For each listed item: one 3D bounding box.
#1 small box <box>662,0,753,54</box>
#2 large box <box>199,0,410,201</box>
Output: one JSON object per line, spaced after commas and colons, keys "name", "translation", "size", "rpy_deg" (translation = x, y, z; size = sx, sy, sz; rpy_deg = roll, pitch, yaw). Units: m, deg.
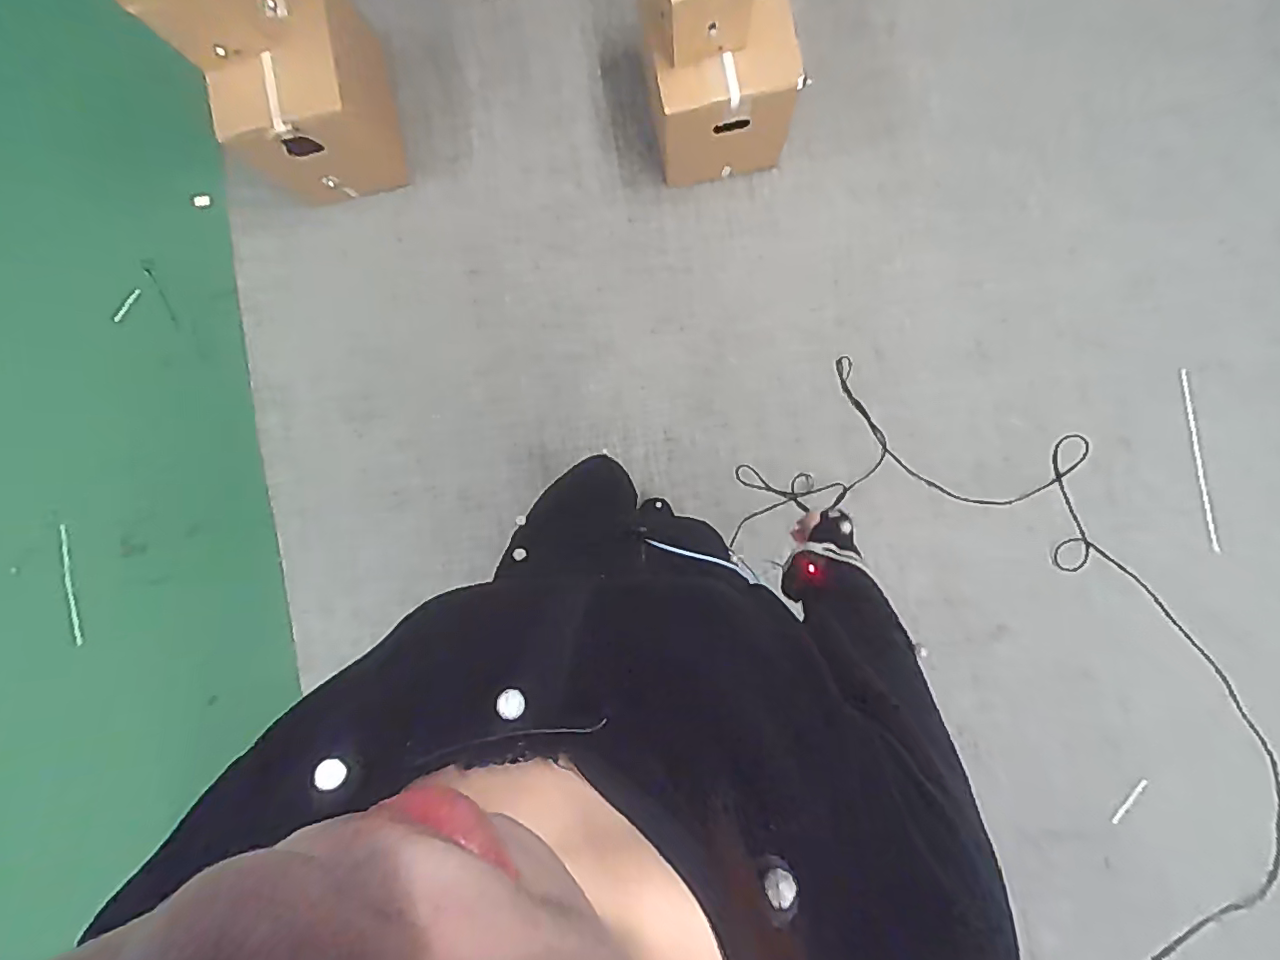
{"name": "small box", "translation": [0.131, -1.005, 1.083], "size": [0.168, 0.176, 0.179], "rpy_deg": [-13, 90, 6]}
{"name": "large box", "translation": [-0.841, -1.017, 1.390], "size": [0.320, 0.320, 0.408], "rpy_deg": [-10, 89, 4]}
